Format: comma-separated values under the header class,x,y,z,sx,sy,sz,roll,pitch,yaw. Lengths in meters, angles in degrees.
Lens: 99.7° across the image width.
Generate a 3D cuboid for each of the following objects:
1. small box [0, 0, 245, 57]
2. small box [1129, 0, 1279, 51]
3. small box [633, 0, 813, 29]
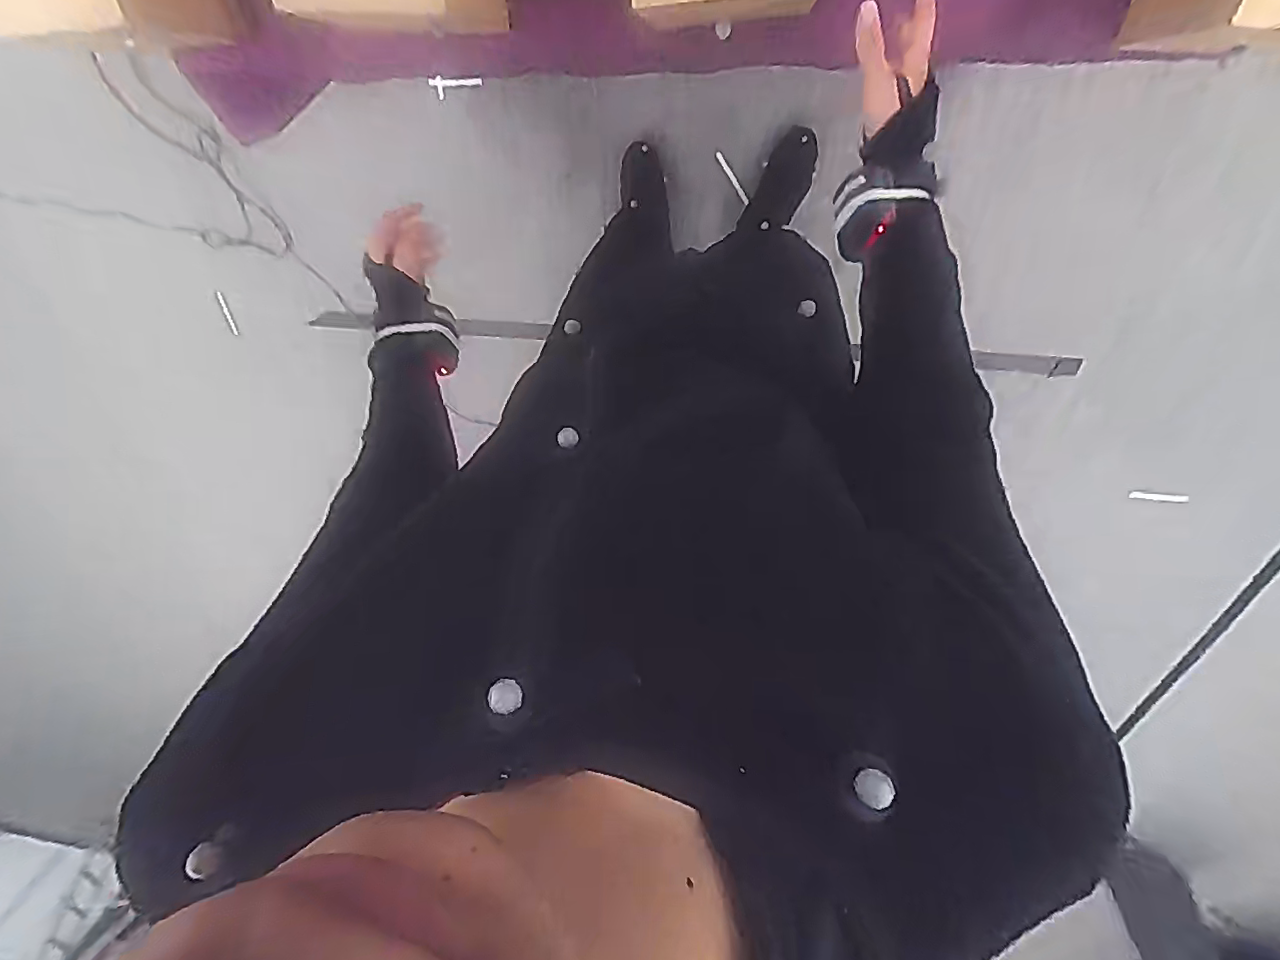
class,x,y,z,sx,sy,sz,roll,pitch,yaw
small box,-0.586,-0.568,0.577,0.179,0.176,0.168,1,124,9
small box,0.548,-0.457,0.421,0.168,0.176,0.179,8,125,7
small box,0.079,-0.524,0.473,0.168,0.176,0.179,2,125,11
